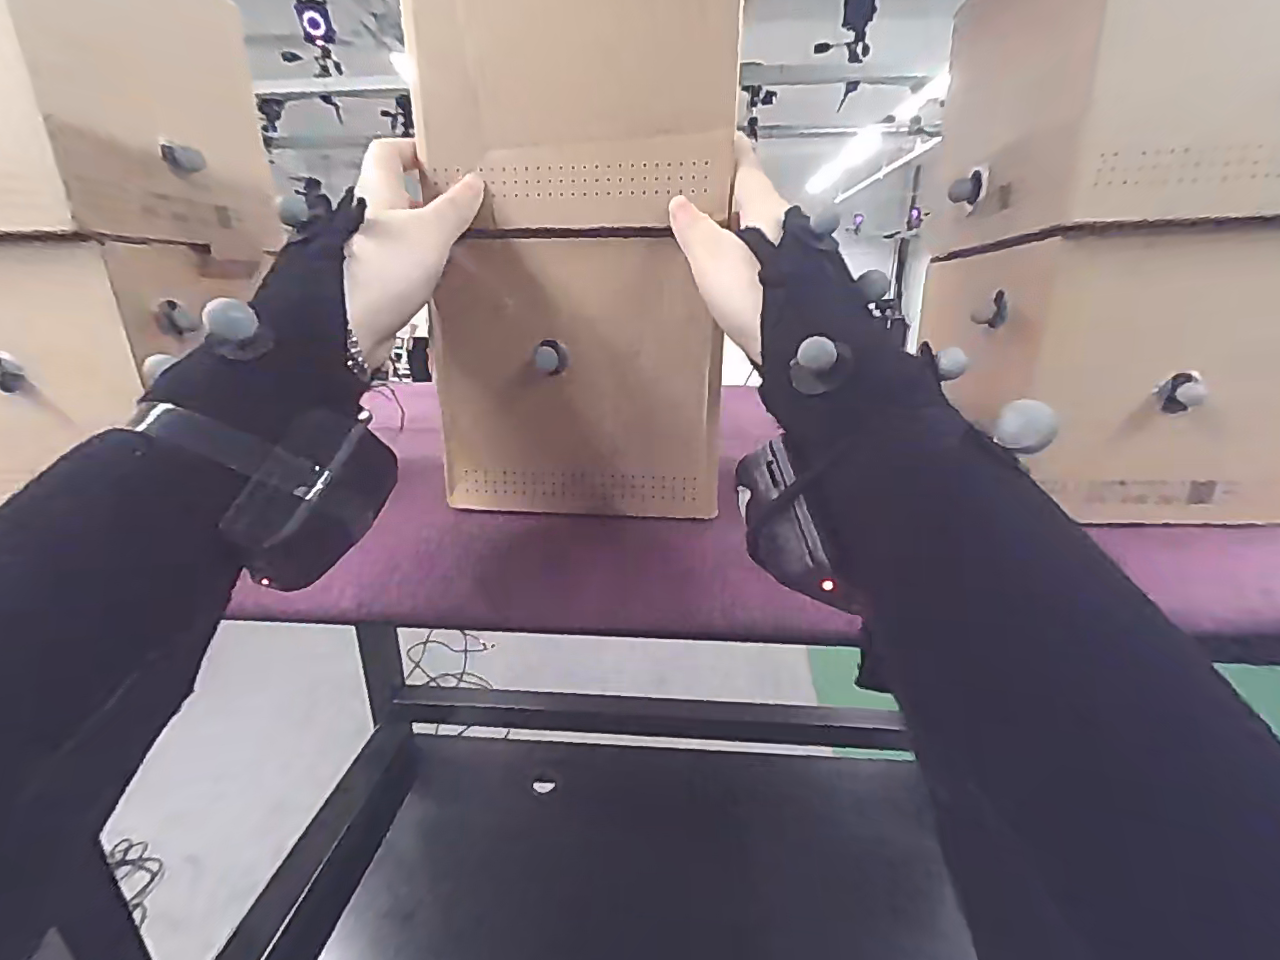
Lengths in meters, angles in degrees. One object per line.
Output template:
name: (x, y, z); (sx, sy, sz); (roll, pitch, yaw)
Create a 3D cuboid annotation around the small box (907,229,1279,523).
small box: (0.310, -0.075, 0.382); (0.168, 0.176, 0.179); (1, 17, 5)

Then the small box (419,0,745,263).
small box: (-0.025, -0.234, 0.346); (0.179, 0.176, 0.168); (4, 17, 7)

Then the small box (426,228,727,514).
small box: (-0.030, -0.079, 0.398); (0.179, 0.176, 0.168); (1, 18, 5)

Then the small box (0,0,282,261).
small box: (-0.374, -0.237, 0.343); (0.179, 0.176, 0.168); (2, 19, 3)

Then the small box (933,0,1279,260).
small box: (0.304, -0.226, 0.322); (0.179, 0.176, 0.168); (-1, 16, 5)
